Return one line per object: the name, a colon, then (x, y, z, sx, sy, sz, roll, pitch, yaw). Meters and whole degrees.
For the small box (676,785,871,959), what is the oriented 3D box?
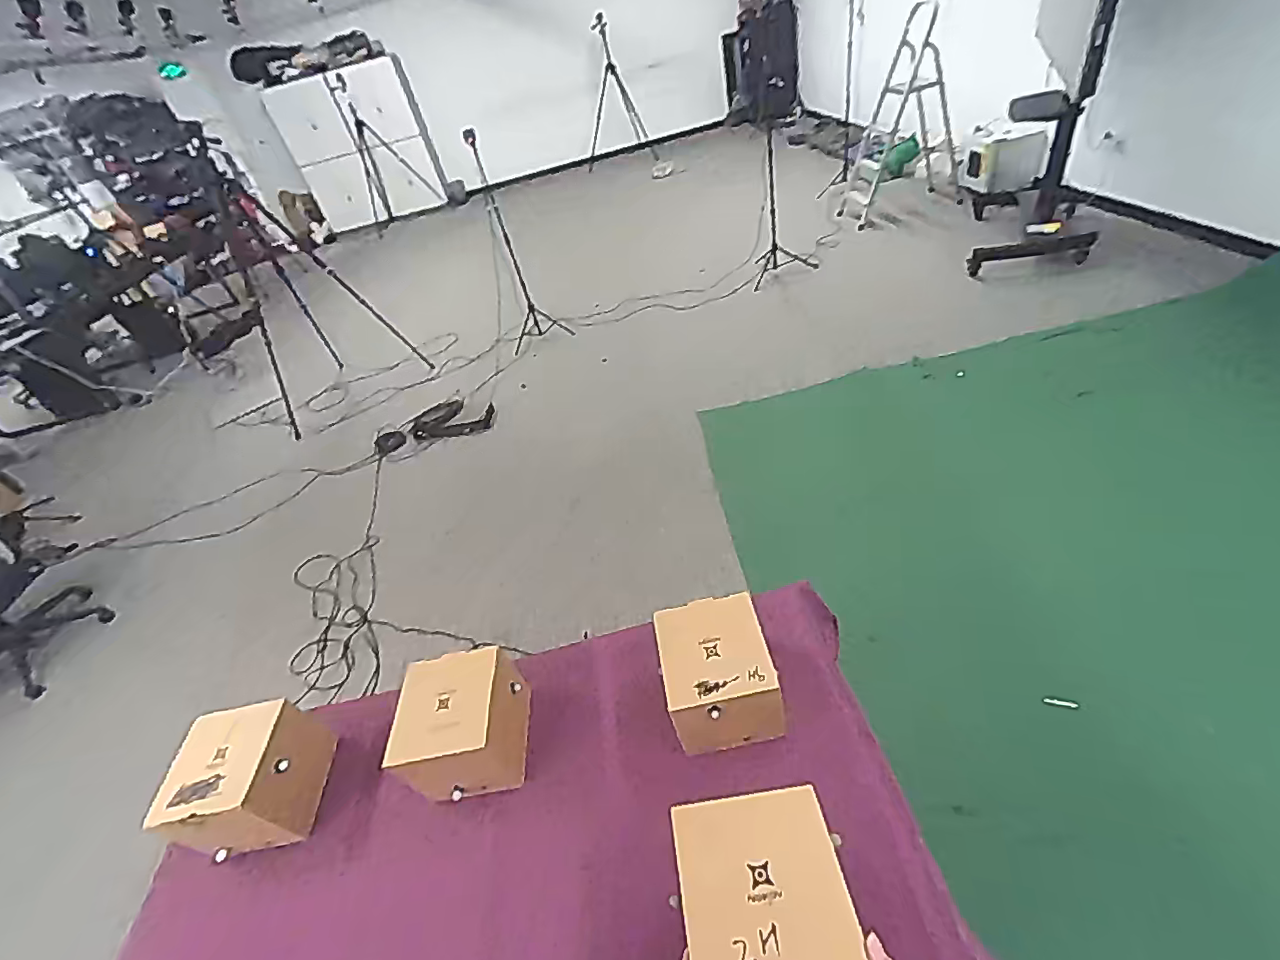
small box: (0.135, 0.473, 0.594, 0.168, 0.176, 0.179, -9, 37, 1)

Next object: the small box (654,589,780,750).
small box: (0.126, 0.312, 0.890, 0.168, 0.176, 0.179, -14, 42, 3)

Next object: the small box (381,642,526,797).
small box: (-0.300, 0.406, 0.915, 0.168, 0.176, 0.179, -12, 43, 4)

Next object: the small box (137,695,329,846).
small box: (-0.666, 0.497, 0.917, 0.168, 0.176, 0.179, -12, 43, 2)
